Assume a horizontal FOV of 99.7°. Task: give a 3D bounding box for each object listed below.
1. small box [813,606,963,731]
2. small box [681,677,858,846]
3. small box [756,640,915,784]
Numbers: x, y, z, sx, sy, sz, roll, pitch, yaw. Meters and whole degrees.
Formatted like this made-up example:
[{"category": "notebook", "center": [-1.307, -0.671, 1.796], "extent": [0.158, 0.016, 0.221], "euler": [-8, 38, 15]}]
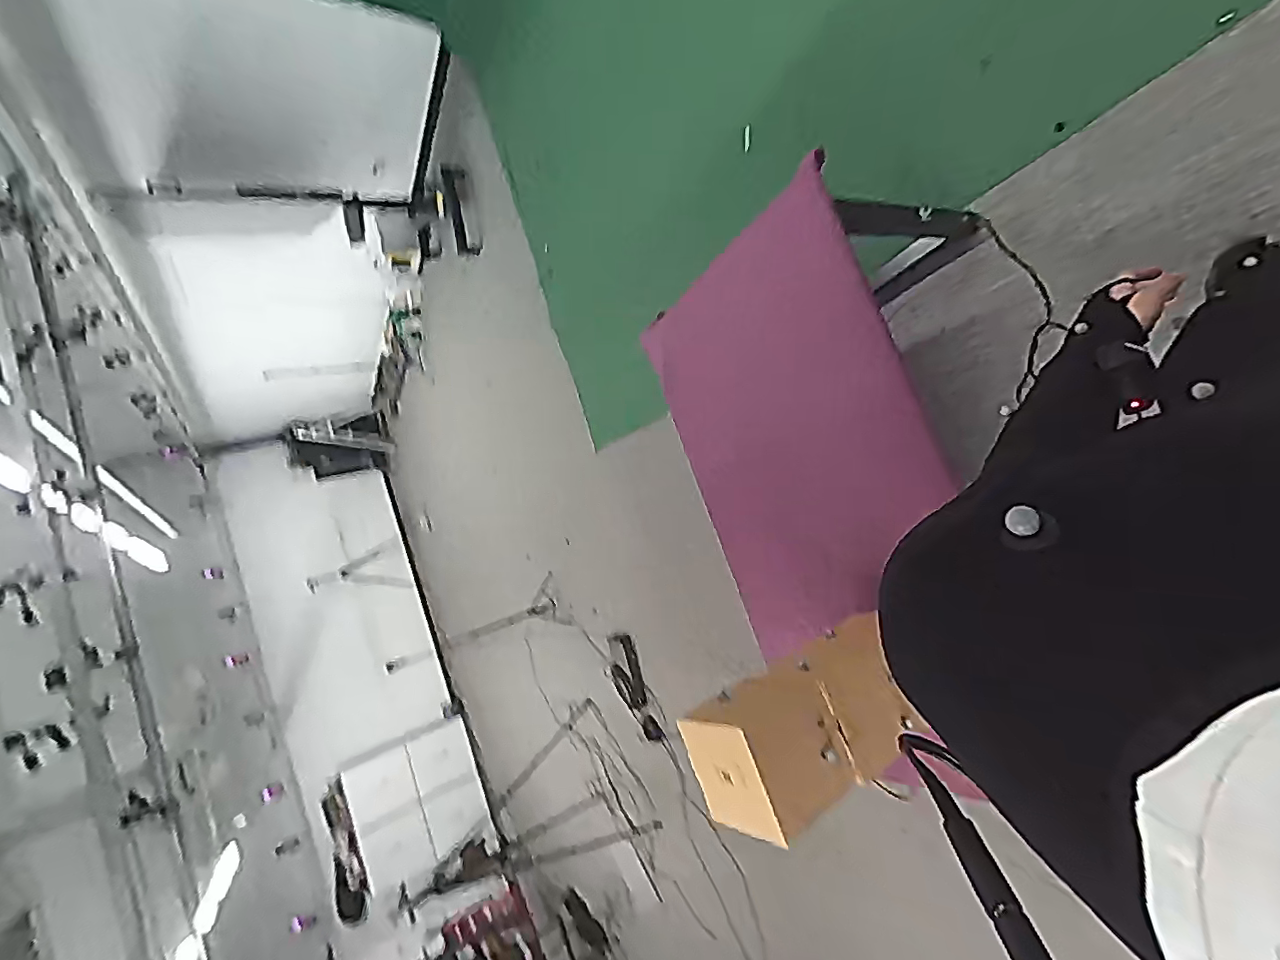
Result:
[{"category": "small box", "center": [0.469, 0.348, 1.017], "extent": [0.179, 0.176, 0.168], "euler": [-35, 74, 56]}, {"category": "small box", "center": [0.199, 0.422, 0.846], "extent": [0.179, 0.176, 0.168], "euler": [-33, 75, 56]}, {"category": "small box", "center": [0.336, 0.384, 0.927], "extent": [0.179, 0.176, 0.168], "euler": [-34, 74, 57]}]
